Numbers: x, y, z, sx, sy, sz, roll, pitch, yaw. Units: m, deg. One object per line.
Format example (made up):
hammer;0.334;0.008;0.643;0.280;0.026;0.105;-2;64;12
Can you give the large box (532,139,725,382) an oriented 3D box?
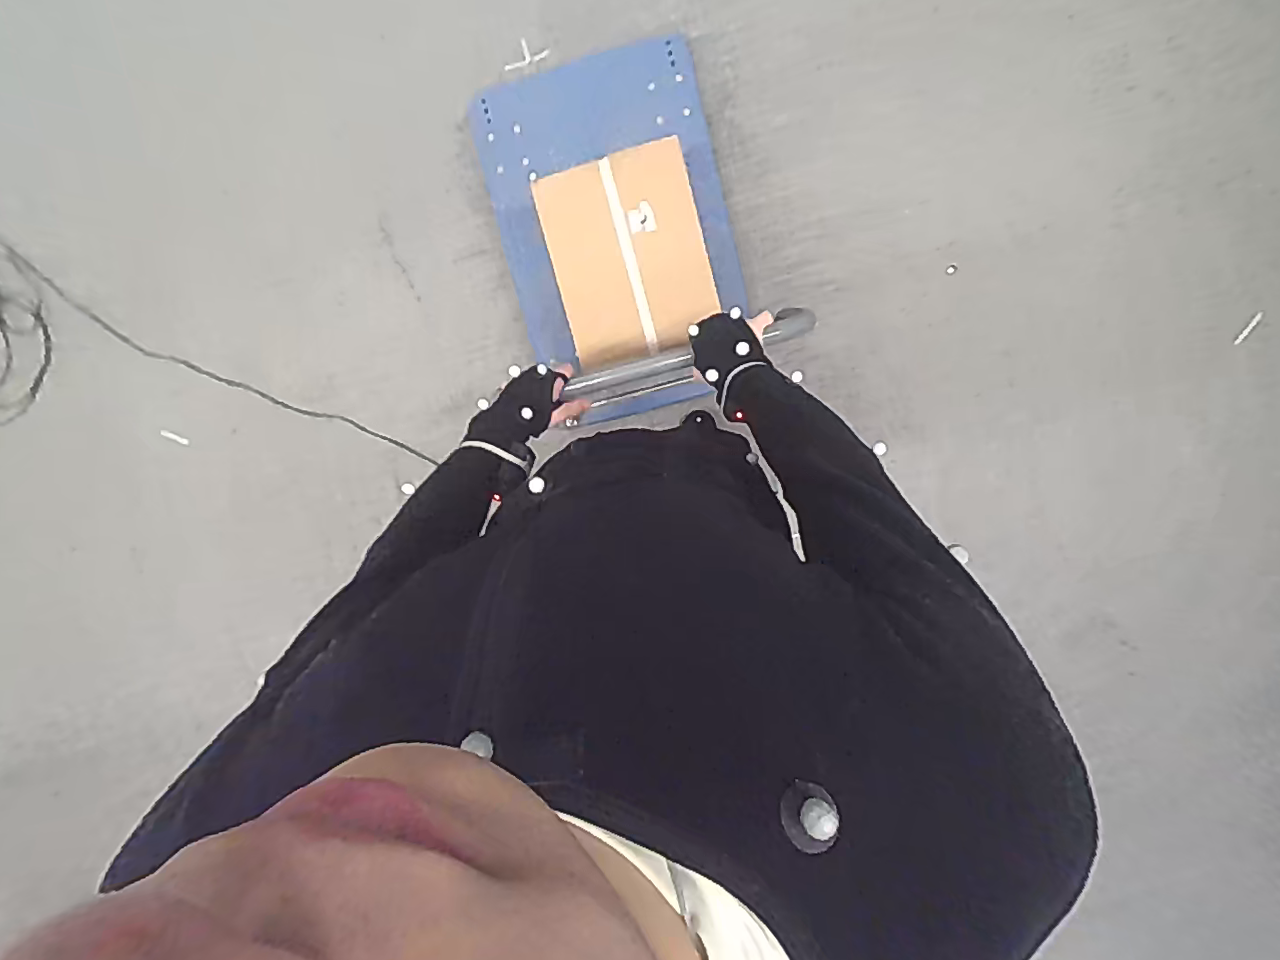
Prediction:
large box;-0.013;-0.469;1.255;0.320;0.320;0.408;-15;96;4
